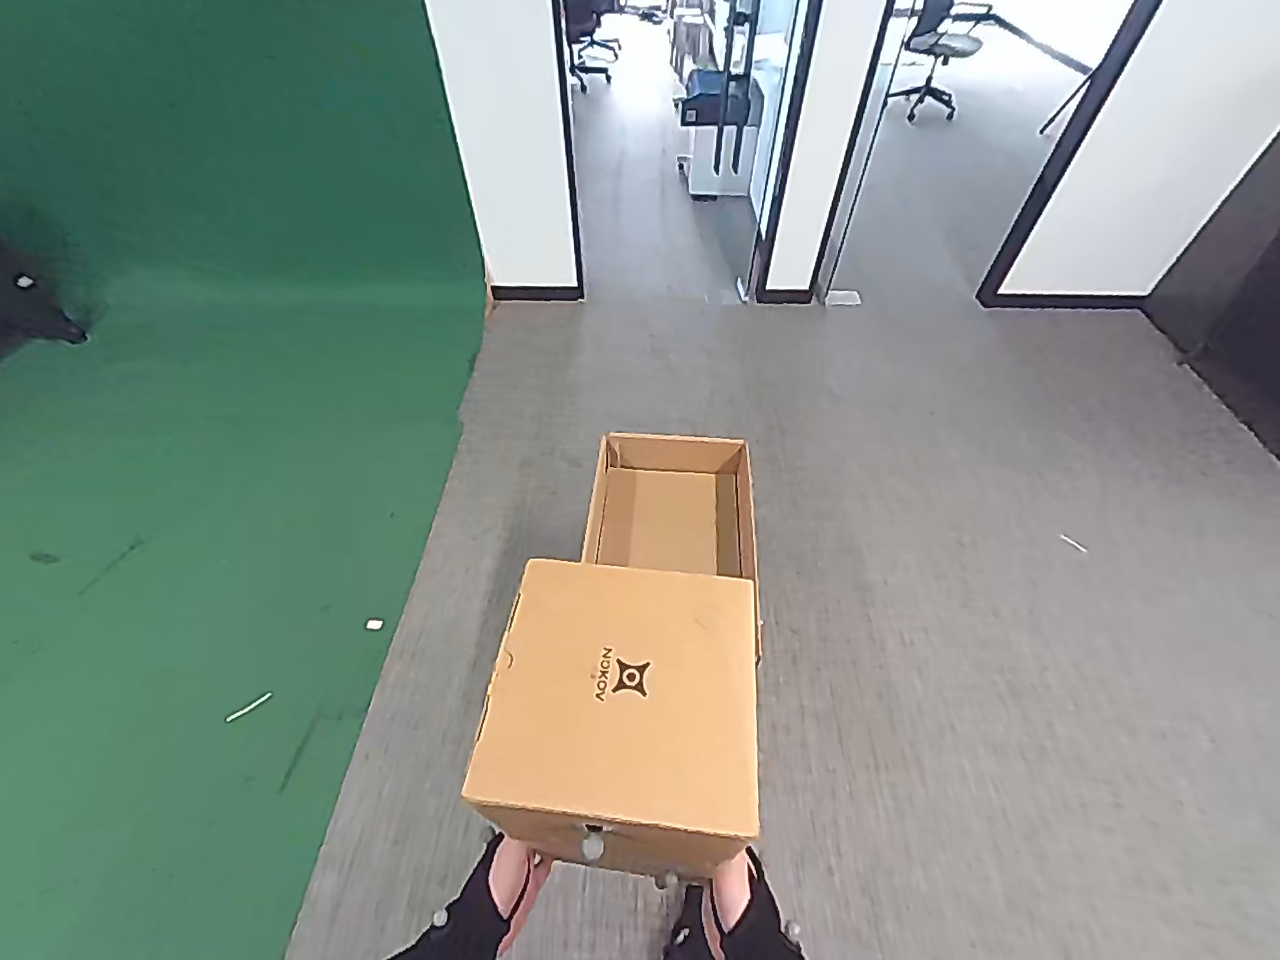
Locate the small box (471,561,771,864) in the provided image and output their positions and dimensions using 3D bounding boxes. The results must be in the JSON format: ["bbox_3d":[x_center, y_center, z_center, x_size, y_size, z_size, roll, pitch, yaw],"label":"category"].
[{"bbox_3d":[-0.003,0.184,0.418,0.179,0.176,0.168,5,50,5],"label":"small box"}]

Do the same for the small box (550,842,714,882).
[{"bbox_3d":[0.002,0.386,0.676,0.179,0.176,0.168,6,50,6],"label":"small box"}]
